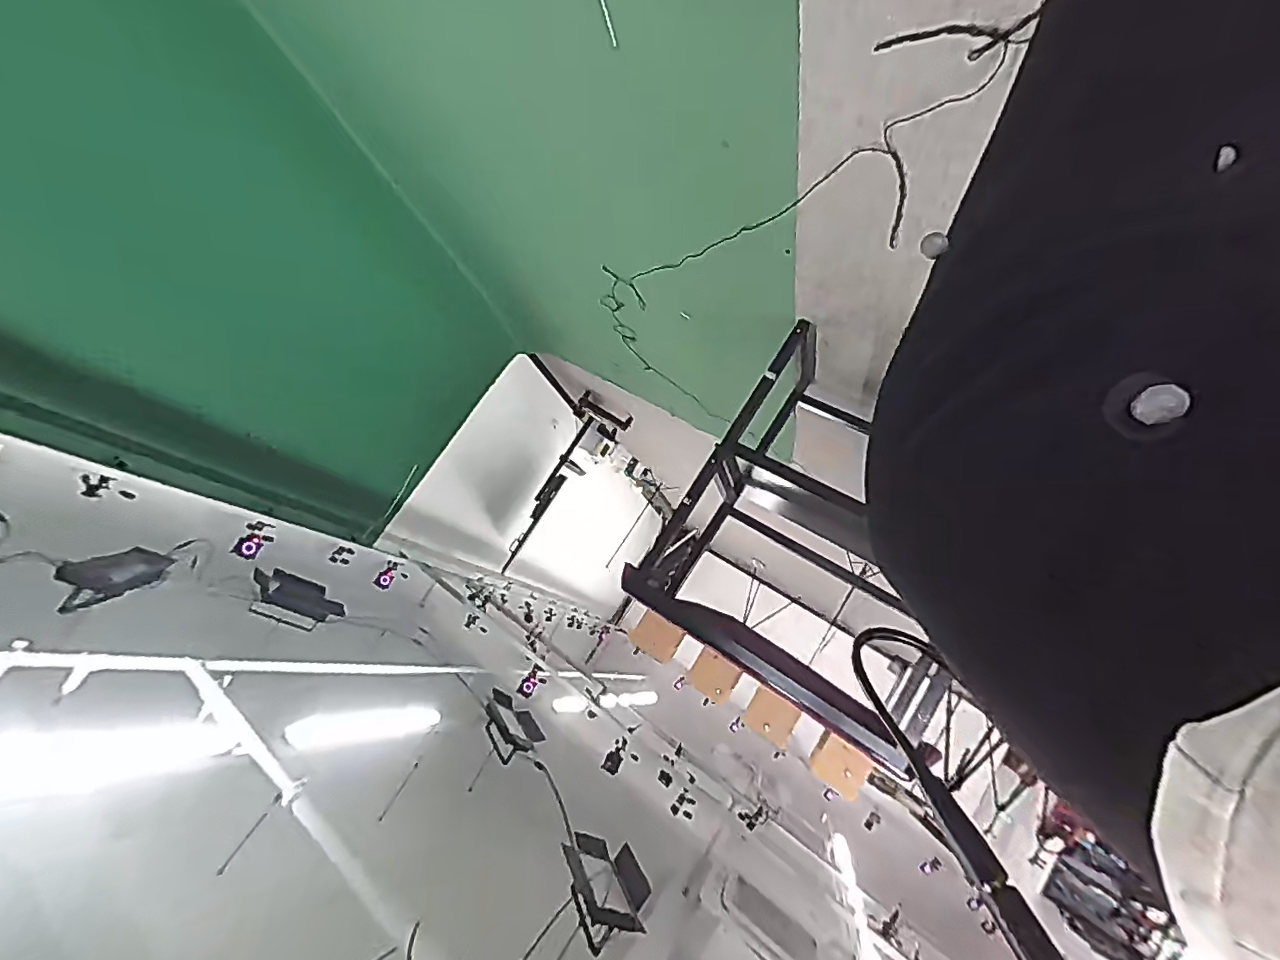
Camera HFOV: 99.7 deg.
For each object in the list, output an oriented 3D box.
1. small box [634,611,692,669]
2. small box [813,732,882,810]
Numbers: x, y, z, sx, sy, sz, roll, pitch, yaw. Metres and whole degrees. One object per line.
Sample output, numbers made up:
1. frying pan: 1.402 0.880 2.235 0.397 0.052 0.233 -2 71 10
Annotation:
1. small box: 0.105 0.669 2.261 0.179 0.176 0.168 30 169 20
2. small box: 0.739 1.030 1.932 0.168 0.176 0.179 31 173 21
